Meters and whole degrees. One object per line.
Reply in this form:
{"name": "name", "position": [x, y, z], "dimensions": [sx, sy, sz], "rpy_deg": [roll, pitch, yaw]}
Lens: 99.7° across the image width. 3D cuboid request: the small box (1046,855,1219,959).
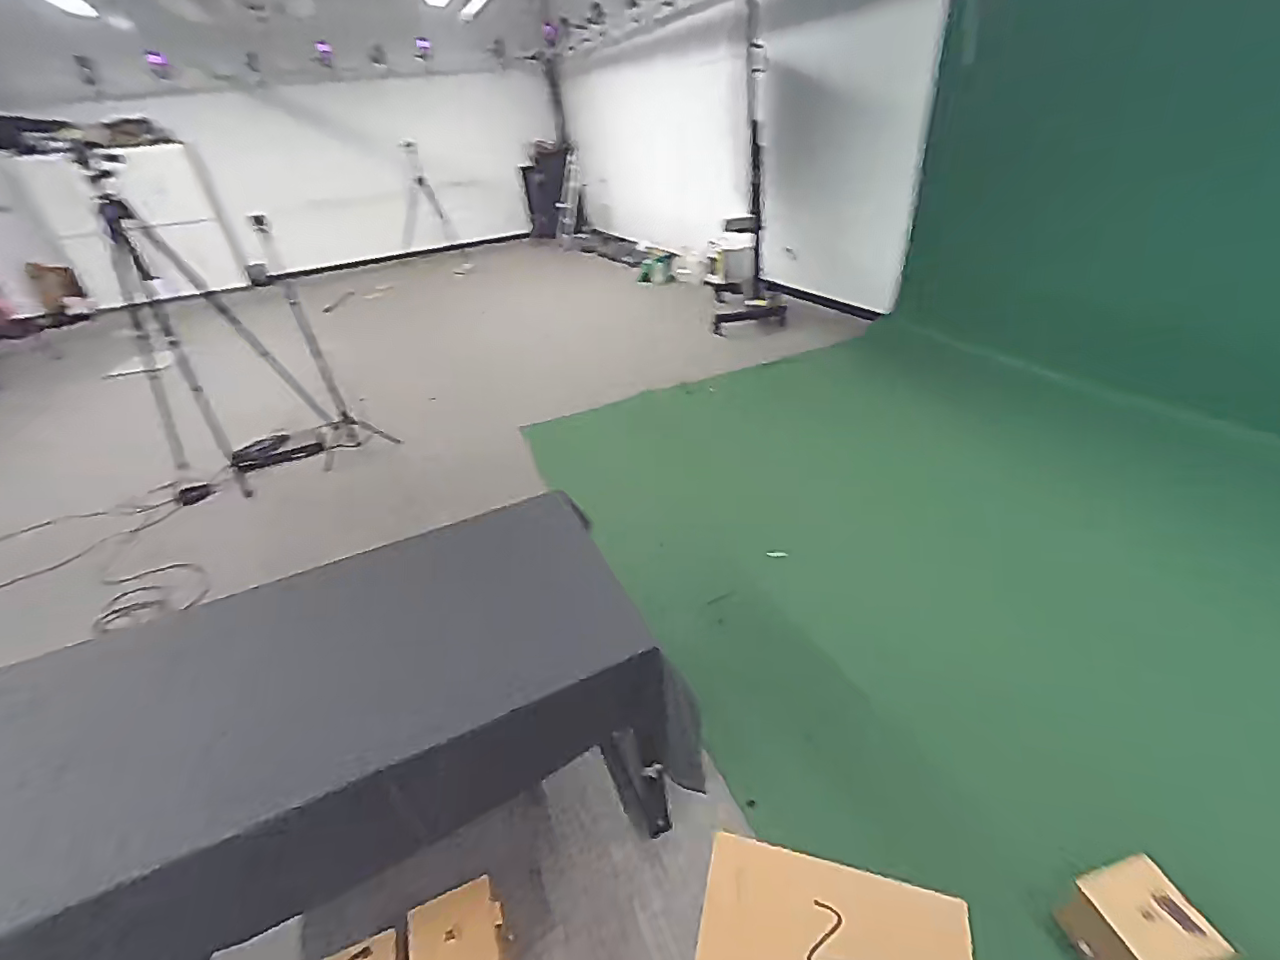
{"name": "small box", "position": [0.982, 0.910, 1.098], "dimensions": [0.179, 0.176, 0.168], "rpy_deg": [-13, 33, -9]}
